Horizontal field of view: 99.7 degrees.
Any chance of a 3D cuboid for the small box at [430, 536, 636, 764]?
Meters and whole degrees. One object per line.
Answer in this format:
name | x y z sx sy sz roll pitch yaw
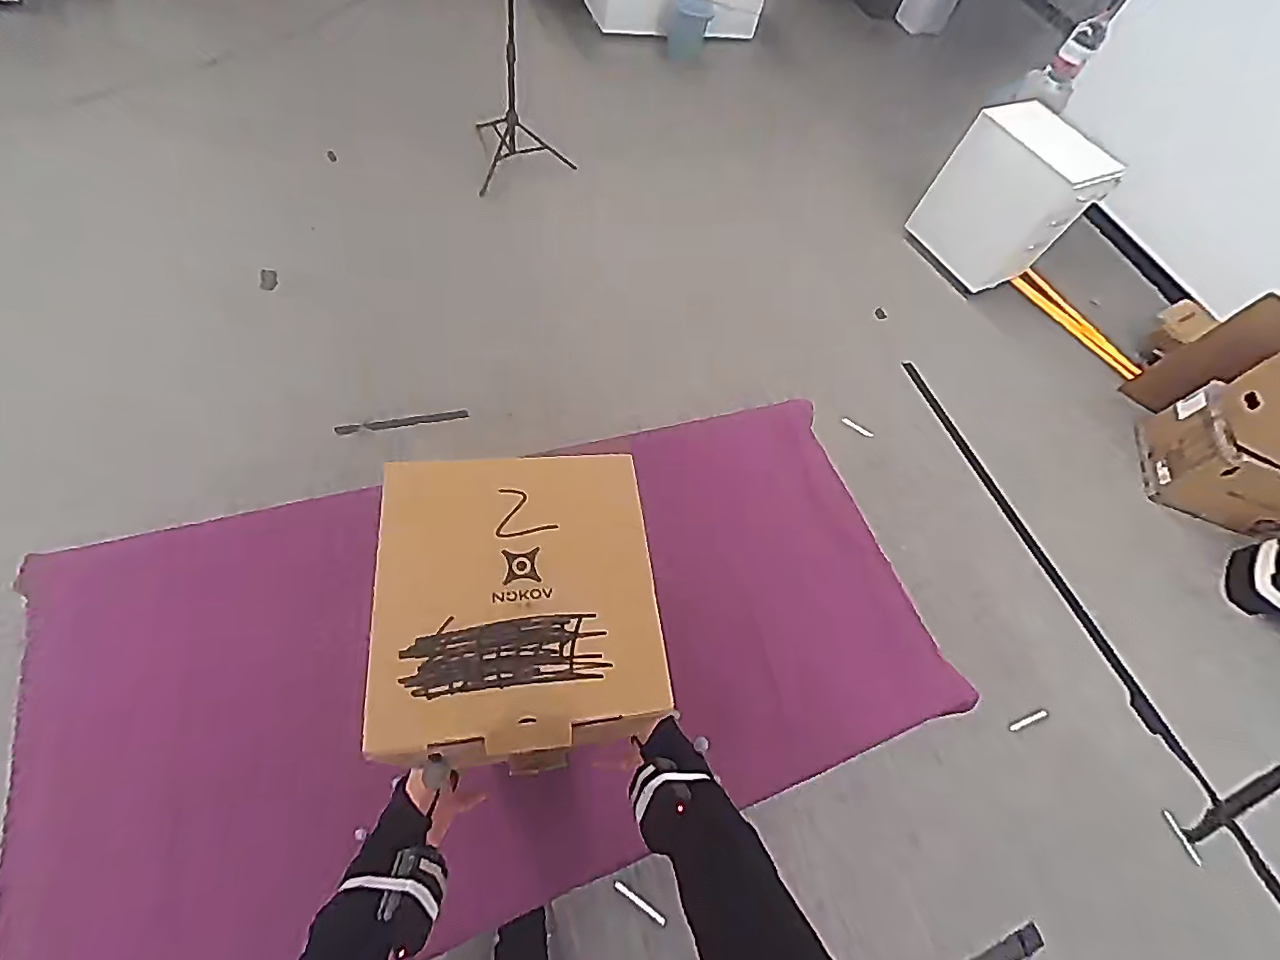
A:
small box | -0.109 0.172 0.540 0.168 0.176 0.179 -3 62 -13
